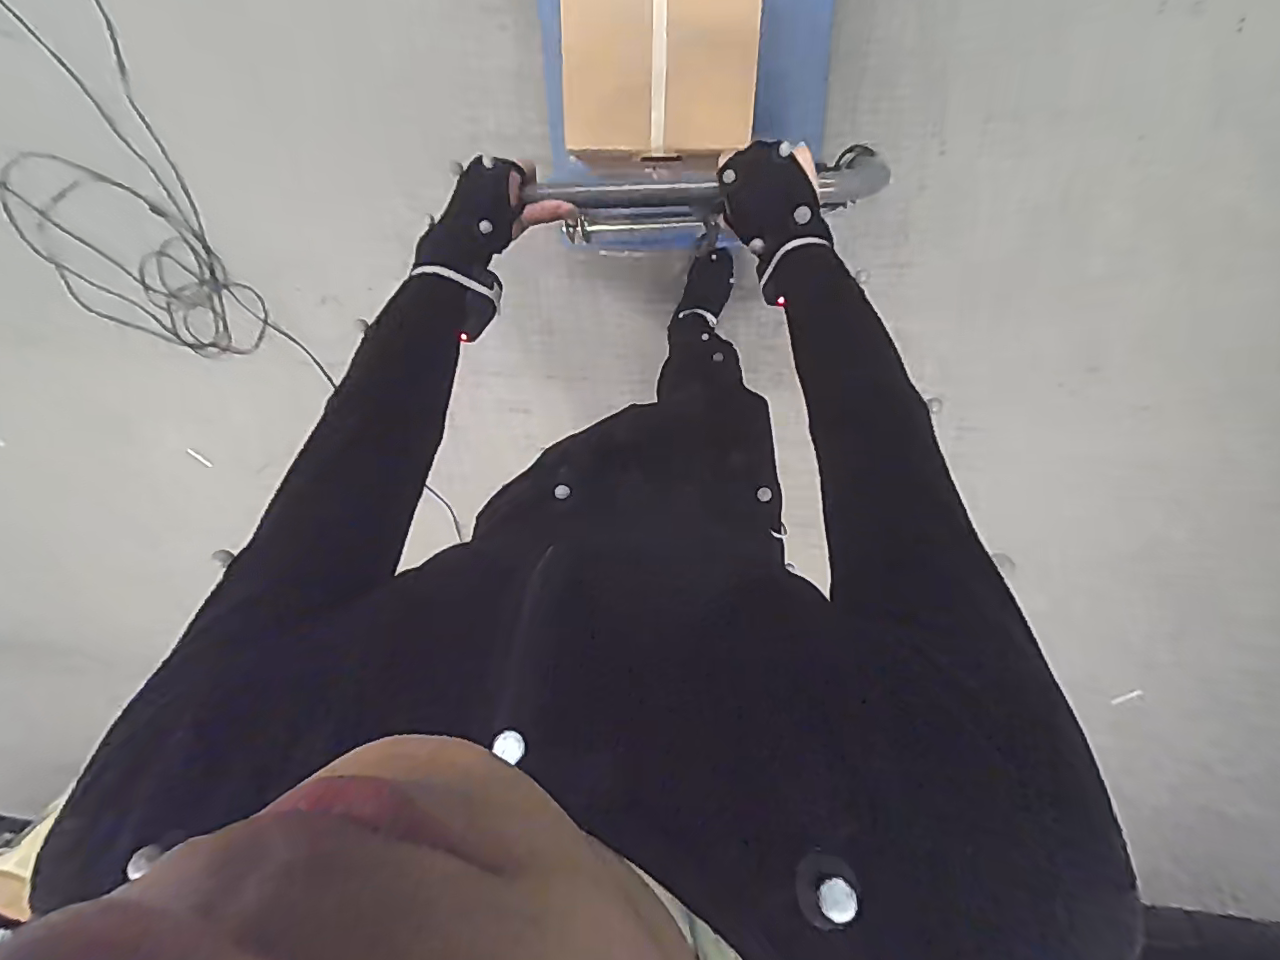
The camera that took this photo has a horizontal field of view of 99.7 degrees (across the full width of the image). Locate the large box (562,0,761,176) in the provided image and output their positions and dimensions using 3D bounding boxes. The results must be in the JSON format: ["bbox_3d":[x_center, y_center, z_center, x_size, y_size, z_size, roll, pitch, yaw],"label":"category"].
[{"bbox_3d":[0.048,-0.796,0.969,0.320,0.320,0.408,3,112,5],"label":"large box"}]
